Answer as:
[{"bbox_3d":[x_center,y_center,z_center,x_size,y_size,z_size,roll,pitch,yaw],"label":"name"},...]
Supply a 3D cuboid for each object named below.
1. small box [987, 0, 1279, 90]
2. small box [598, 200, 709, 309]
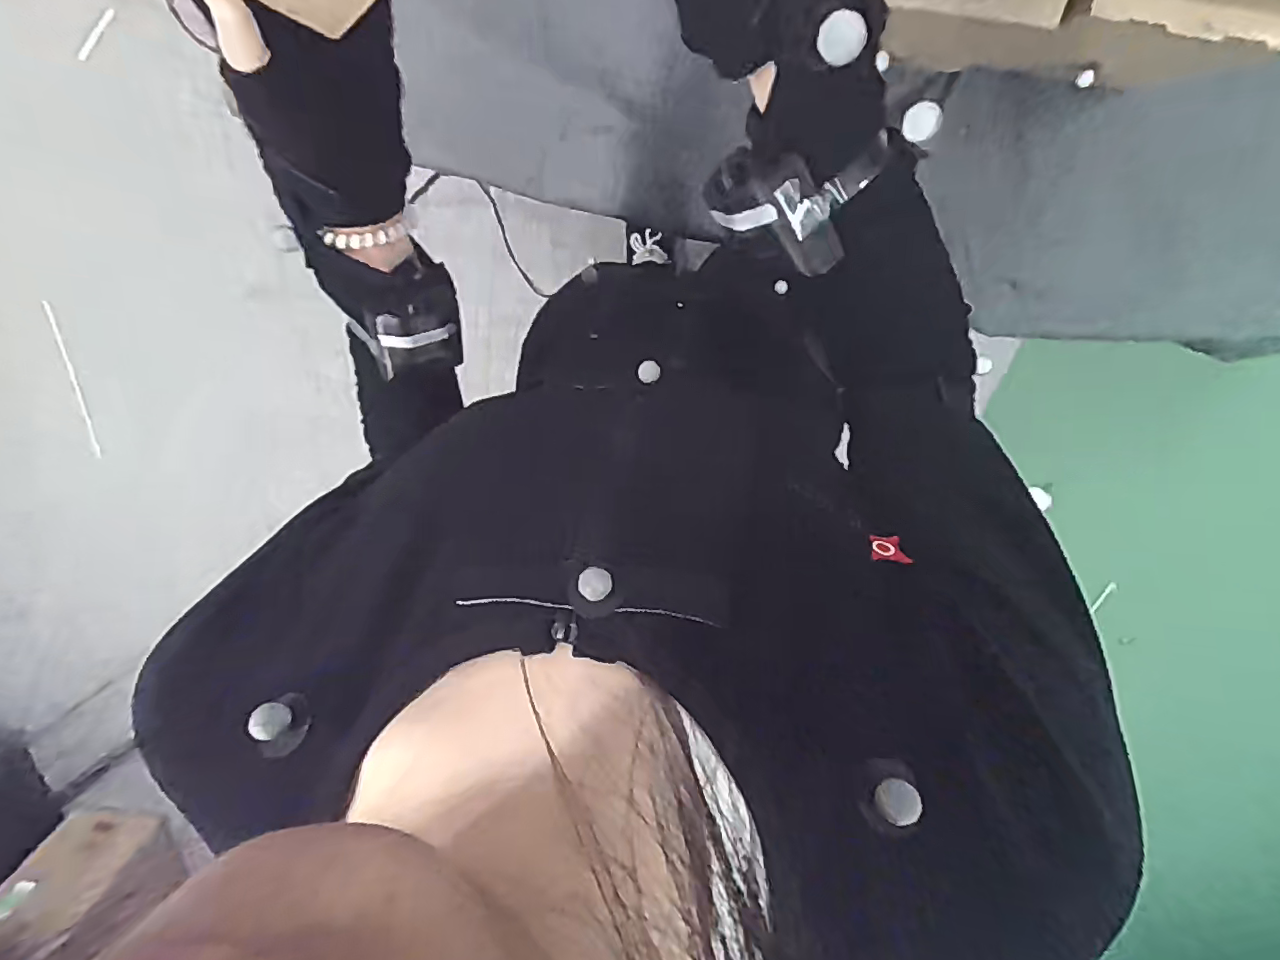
[{"bbox_3d":[0.418,-0.438,0.424,0.168,0.176,0.179,10,118,-1],"label":"small box"},{"bbox_3d":[0.026,-0.520,1.249,0.179,0.176,0.168,46,124,1],"label":"small box"}]
